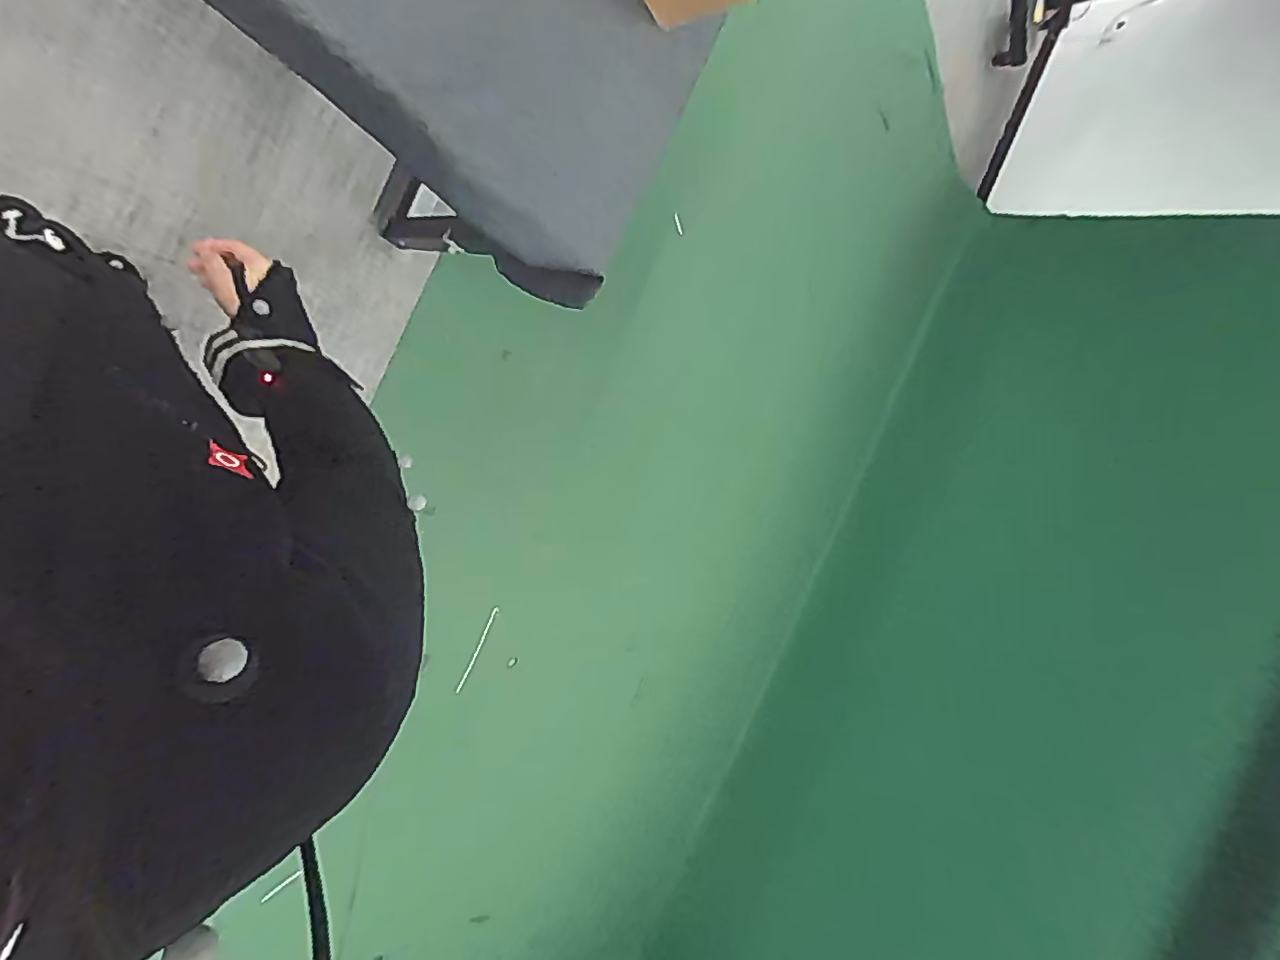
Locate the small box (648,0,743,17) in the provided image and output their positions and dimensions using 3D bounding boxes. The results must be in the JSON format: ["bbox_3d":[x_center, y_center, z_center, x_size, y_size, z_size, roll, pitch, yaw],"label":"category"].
[{"bbox_3d":[0.082,-0.713,0.644,0.168,0.176,0.179,30,88,-50],"label":"small box"}]
